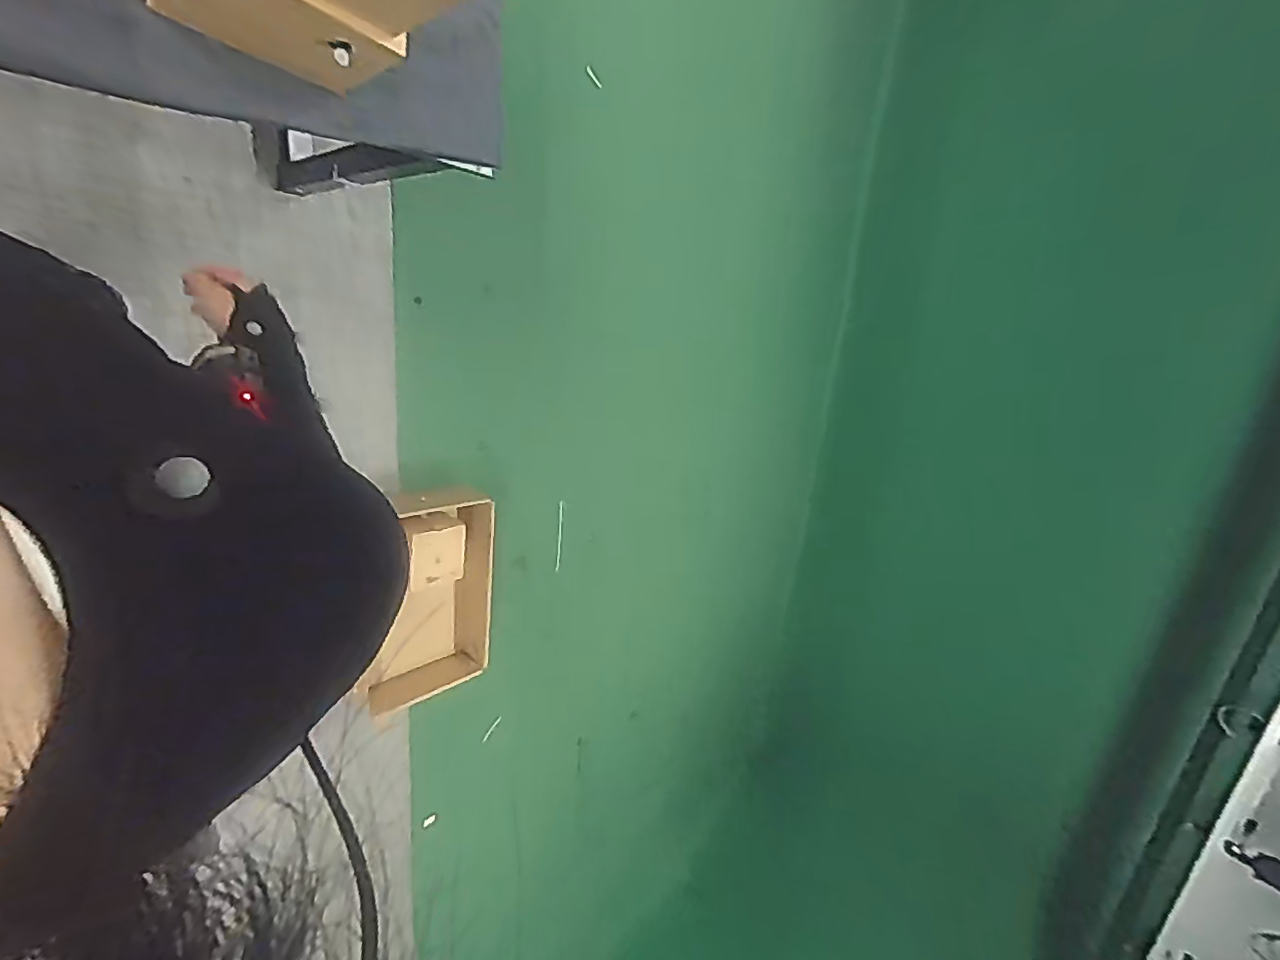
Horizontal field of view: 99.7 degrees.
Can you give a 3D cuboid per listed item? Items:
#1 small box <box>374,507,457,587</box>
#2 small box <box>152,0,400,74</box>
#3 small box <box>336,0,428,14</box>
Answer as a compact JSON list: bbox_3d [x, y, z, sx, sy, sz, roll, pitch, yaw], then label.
[{"bbox_3d":[-0.653,0.185,1.568,0.168,0.176,0.179,-9,112,-49],"label":"small box"},{"bbox_3d":[-0.344,-0.516,0.503,0.179,0.176,0.168,-5,107,-51],"label":"small box"},{"bbox_3d":[-0.227,-0.487,0.392,0.179,0.176,0.168,-7,109,-49],"label":"small box"}]
